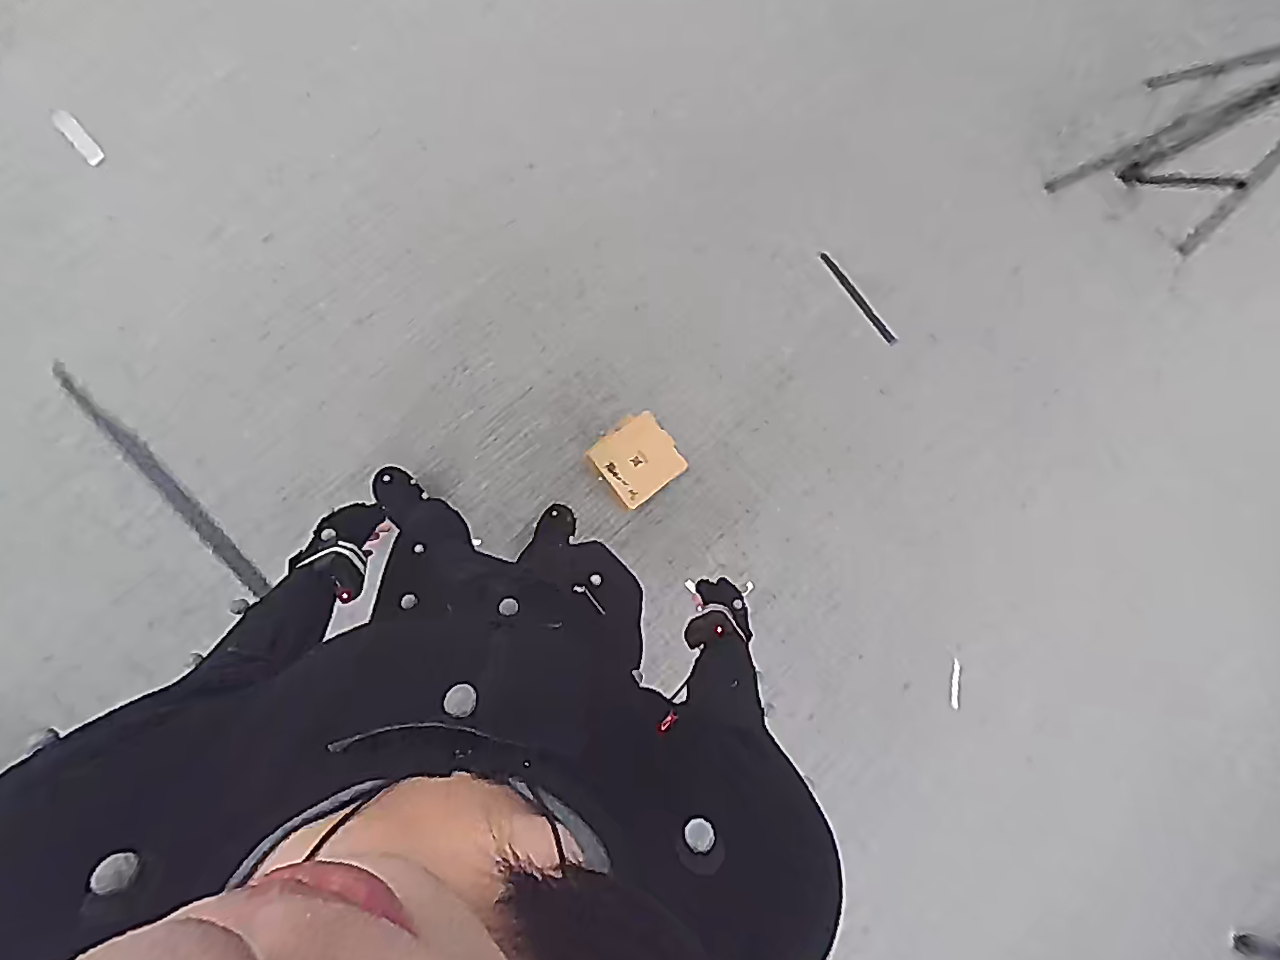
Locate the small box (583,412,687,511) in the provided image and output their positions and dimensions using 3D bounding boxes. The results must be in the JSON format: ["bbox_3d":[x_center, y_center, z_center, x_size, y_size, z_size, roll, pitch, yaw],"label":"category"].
[{"bbox_3d":[-0.020,-0.040,1.312,0.179,0.176,0.168,-37,95,-11],"label":"small box"}]

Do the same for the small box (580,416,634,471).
[{"bbox_3d":[-0.045,-0.049,1.475,0.168,0.176,0.179,-43,95,-10],"label":"small box"}]
